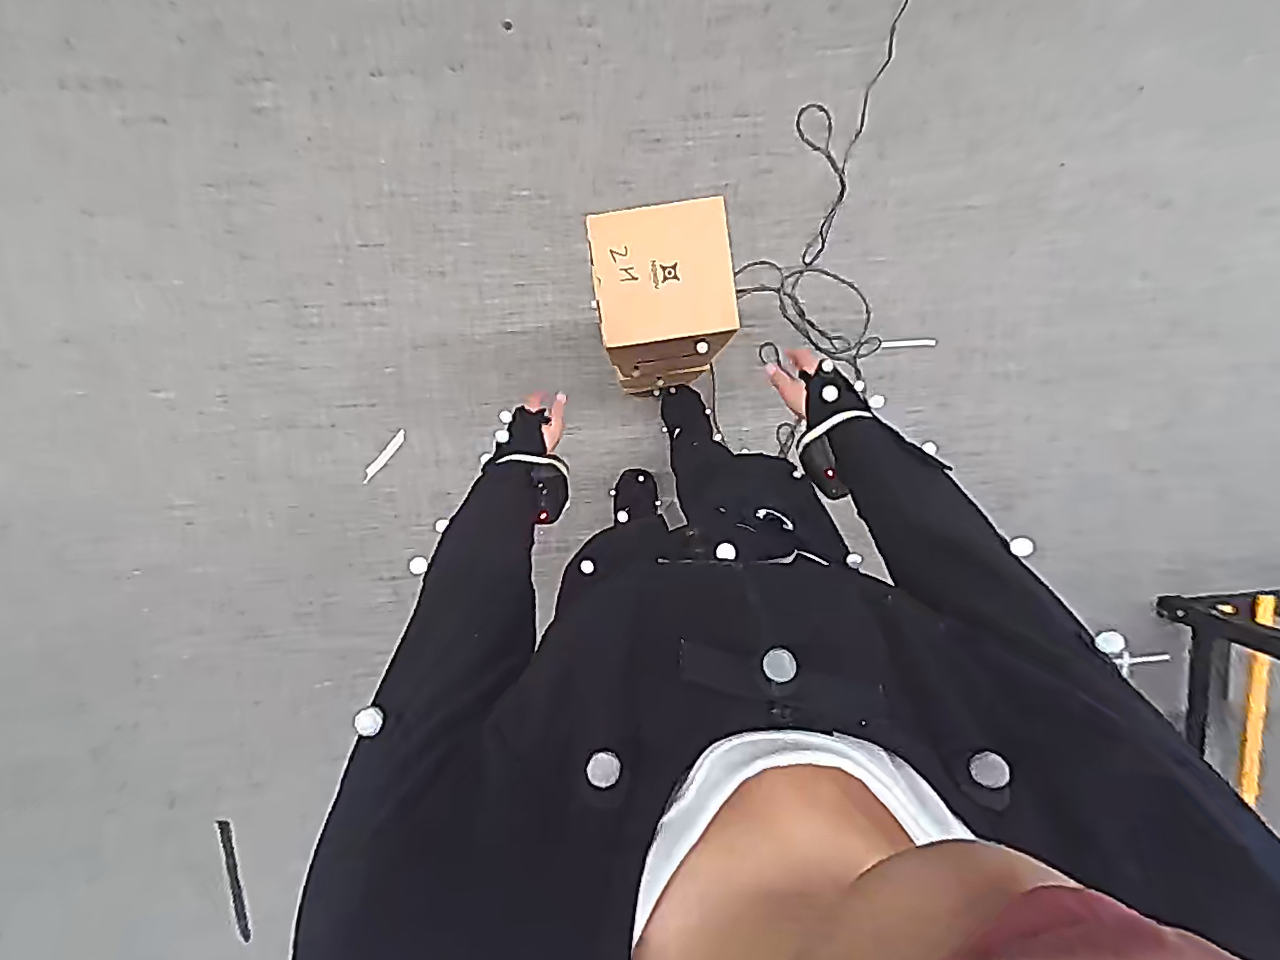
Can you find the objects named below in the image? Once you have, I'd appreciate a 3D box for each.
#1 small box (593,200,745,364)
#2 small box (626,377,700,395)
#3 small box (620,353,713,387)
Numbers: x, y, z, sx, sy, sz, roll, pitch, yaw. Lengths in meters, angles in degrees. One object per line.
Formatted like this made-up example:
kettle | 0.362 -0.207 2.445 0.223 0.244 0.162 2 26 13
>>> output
small box | 0.037 -0.262 0.755 0.179 0.176 0.168 -8 94 2
small box | 0.038 -0.298 1.246 0.168 0.176 0.179 -9 97 1
small box | 0.042 -0.282 1.084 0.179 0.176 0.168 -7 96 2
